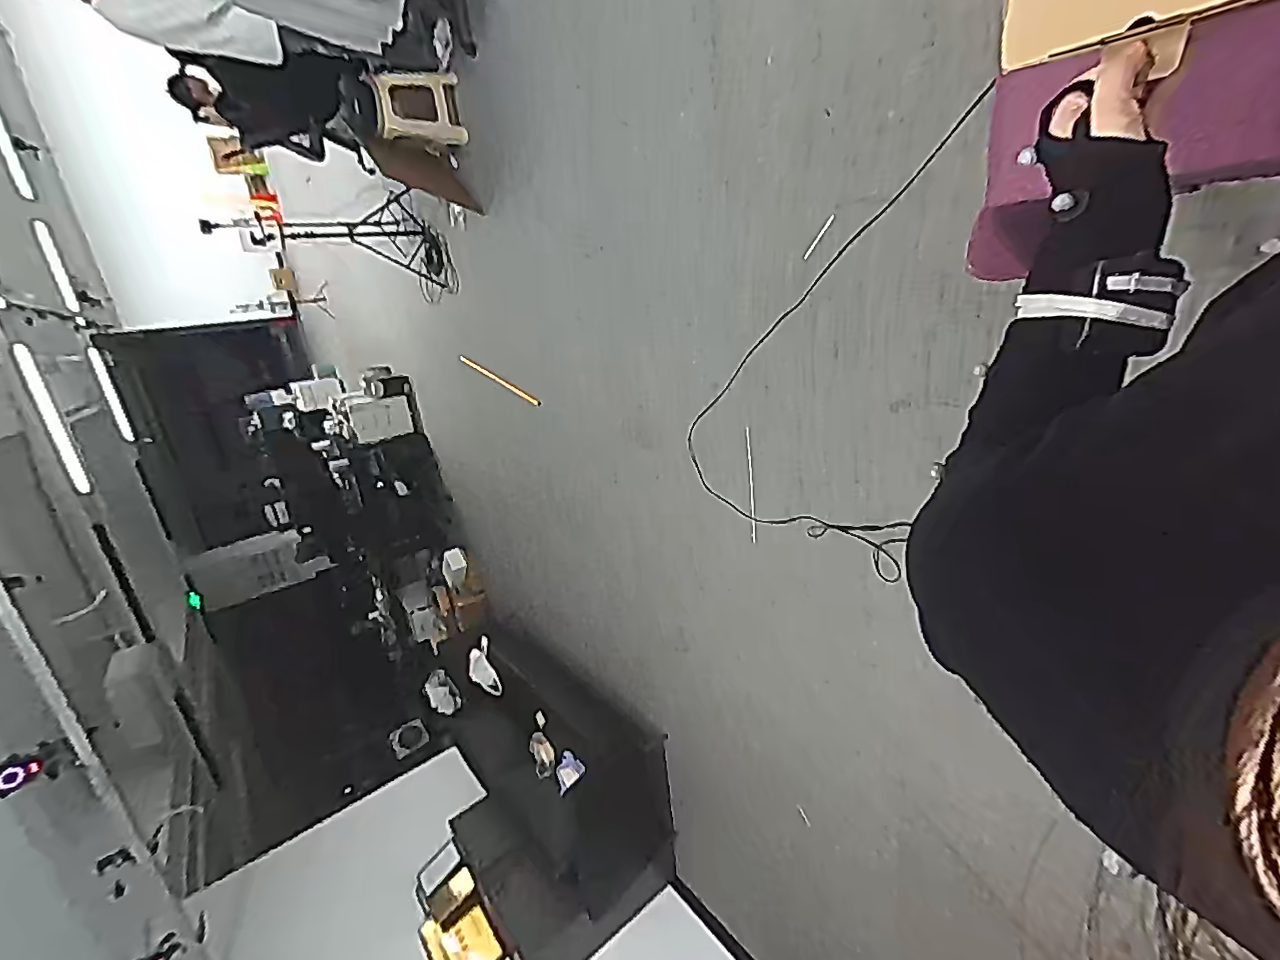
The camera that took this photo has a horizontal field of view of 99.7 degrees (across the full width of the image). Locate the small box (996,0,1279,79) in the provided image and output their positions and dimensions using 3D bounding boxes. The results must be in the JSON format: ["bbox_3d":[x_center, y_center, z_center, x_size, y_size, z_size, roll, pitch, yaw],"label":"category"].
[{"bbox_3d":[0.373,-0.415,0.376,0.168,0.176,0.179,14,129,44],"label":"small box"}]
